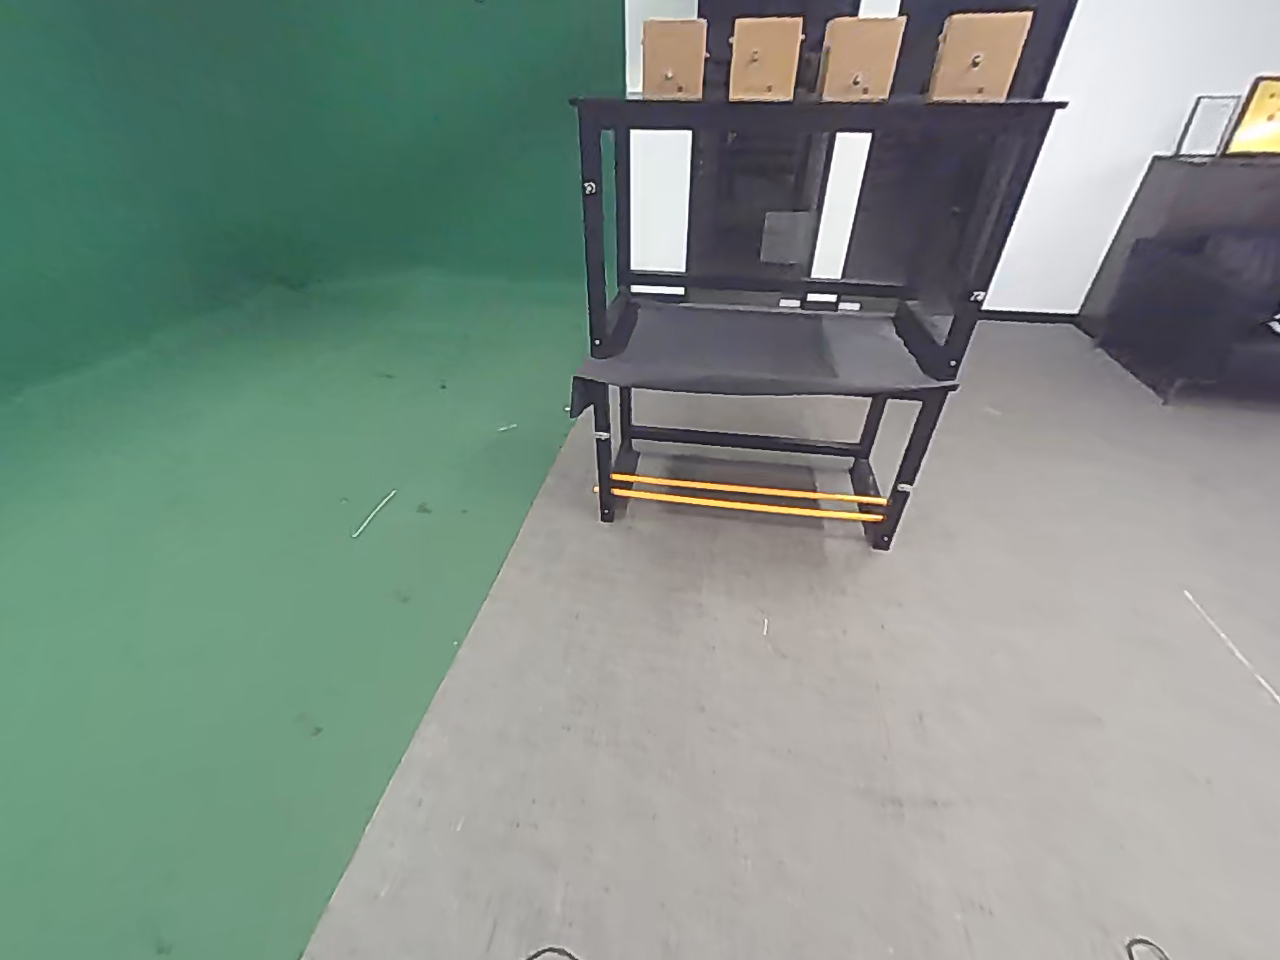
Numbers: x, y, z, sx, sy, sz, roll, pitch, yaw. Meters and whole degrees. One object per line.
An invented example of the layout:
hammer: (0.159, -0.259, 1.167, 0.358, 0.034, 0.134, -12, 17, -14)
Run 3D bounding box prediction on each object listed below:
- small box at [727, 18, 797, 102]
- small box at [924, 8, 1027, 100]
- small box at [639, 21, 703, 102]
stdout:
small box: (0.326, -1.121, 1.451, 0.168, 0.176, 0.179, 6, 37, 9)
small box: (0.830, -1.061, 1.355, 0.168, 0.176, 0.179, 11, 38, 15)
small box: (0.087, -1.156, 1.498, 0.168, 0.176, 0.179, 3, 38, 4)
